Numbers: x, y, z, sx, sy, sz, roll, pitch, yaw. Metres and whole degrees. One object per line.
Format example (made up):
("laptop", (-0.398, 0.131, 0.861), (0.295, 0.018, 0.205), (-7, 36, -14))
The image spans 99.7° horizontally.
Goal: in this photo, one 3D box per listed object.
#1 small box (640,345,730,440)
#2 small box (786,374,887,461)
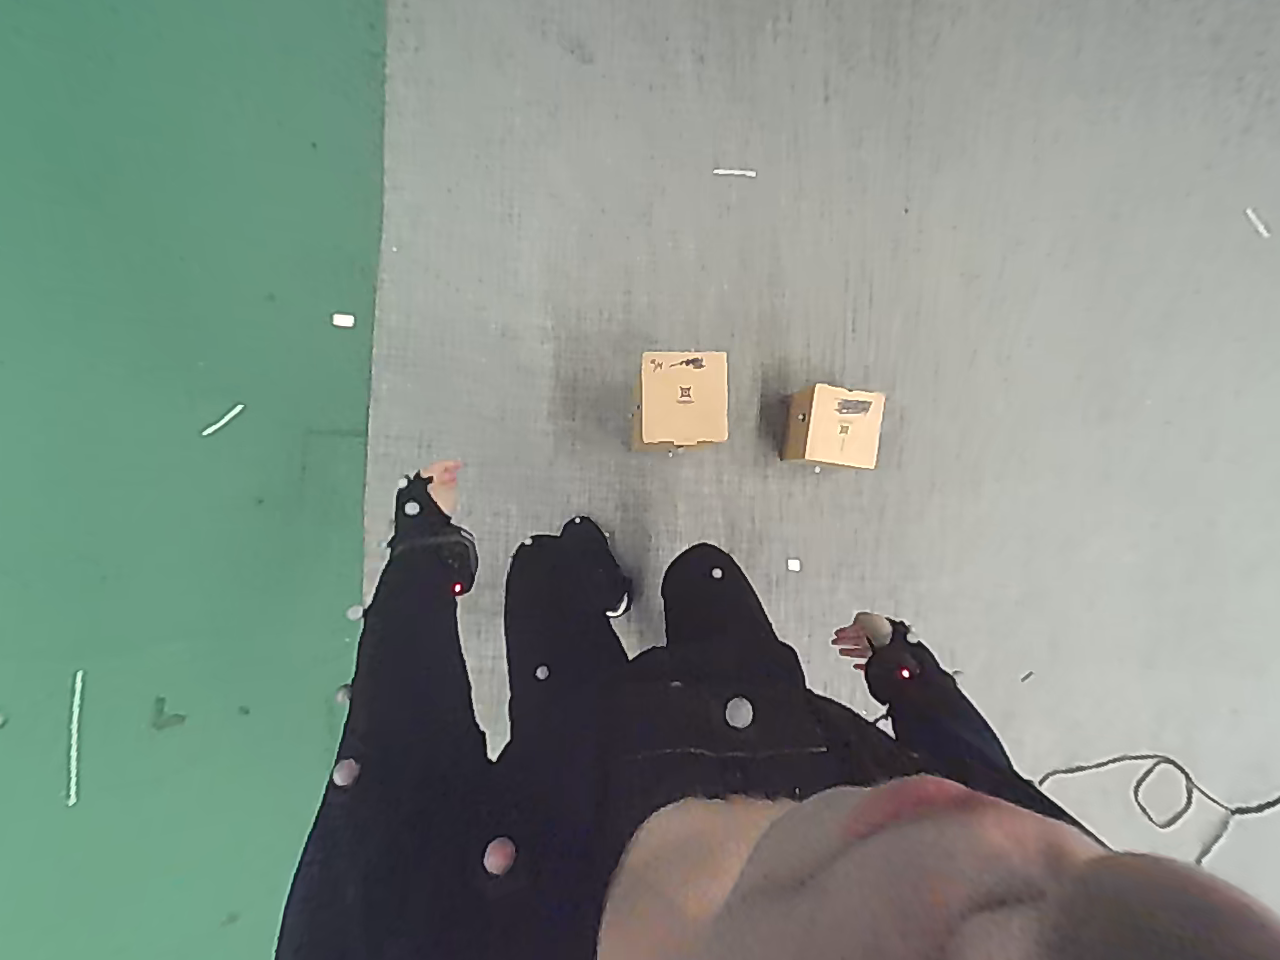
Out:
("small box", (0.087, -0.172, 1.108), (0.168, 0.176, 0.179), (-1, 91, -3))
("small box", (0.462, -0.143, 1.293), (0.168, 0.176, 0.179), (8, 91, -3))
